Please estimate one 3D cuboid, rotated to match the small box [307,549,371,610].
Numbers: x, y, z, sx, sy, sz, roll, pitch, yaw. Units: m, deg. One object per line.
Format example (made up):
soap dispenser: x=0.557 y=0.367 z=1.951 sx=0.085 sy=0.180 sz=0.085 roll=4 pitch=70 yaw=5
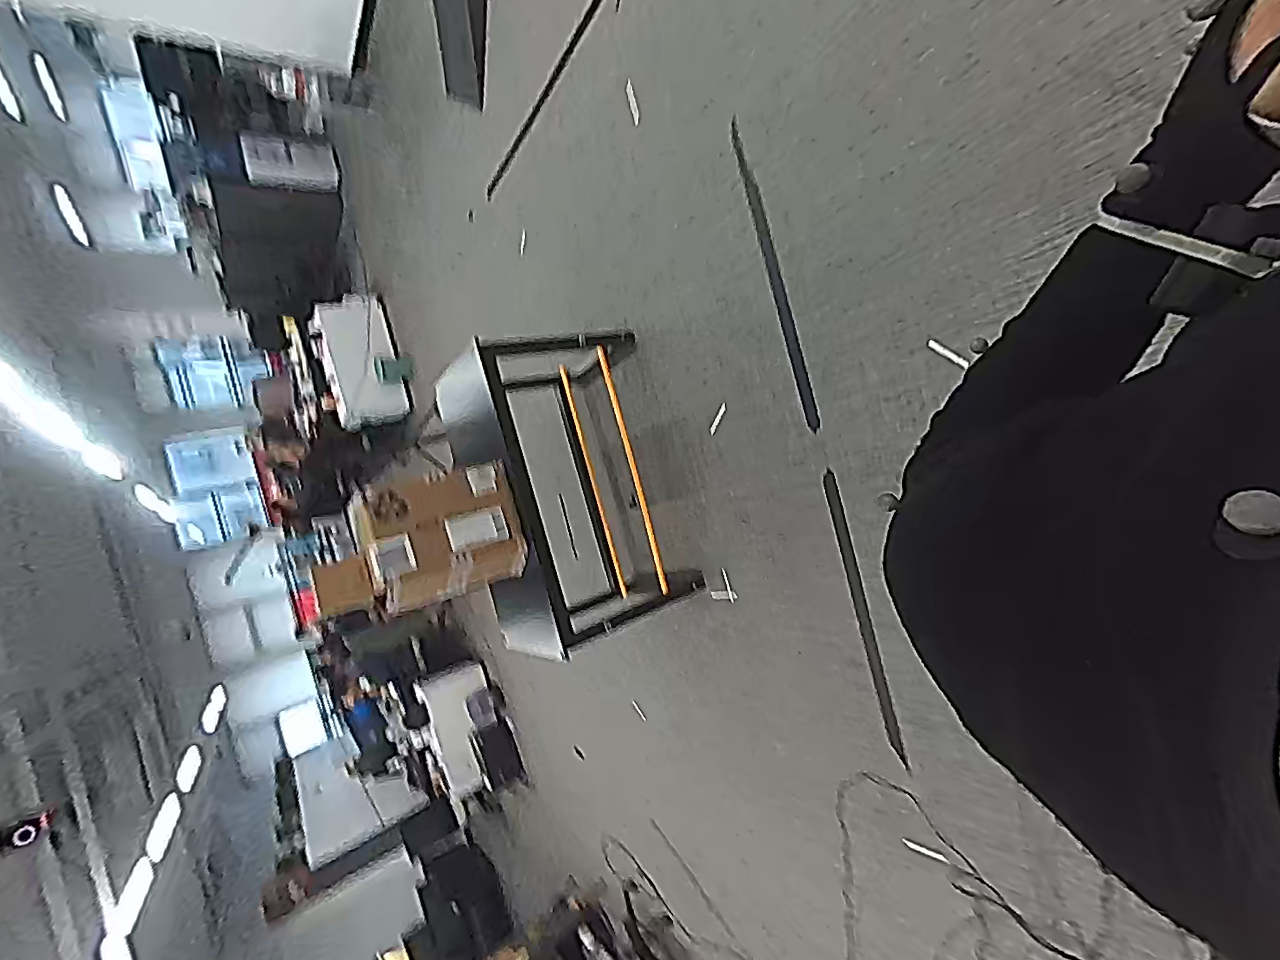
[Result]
small box: x=-1.048 y=0.348 z=1.886 sx=0.179 sy=0.176 sz=0.168 roll=-25 pitch=80 yaw=56
